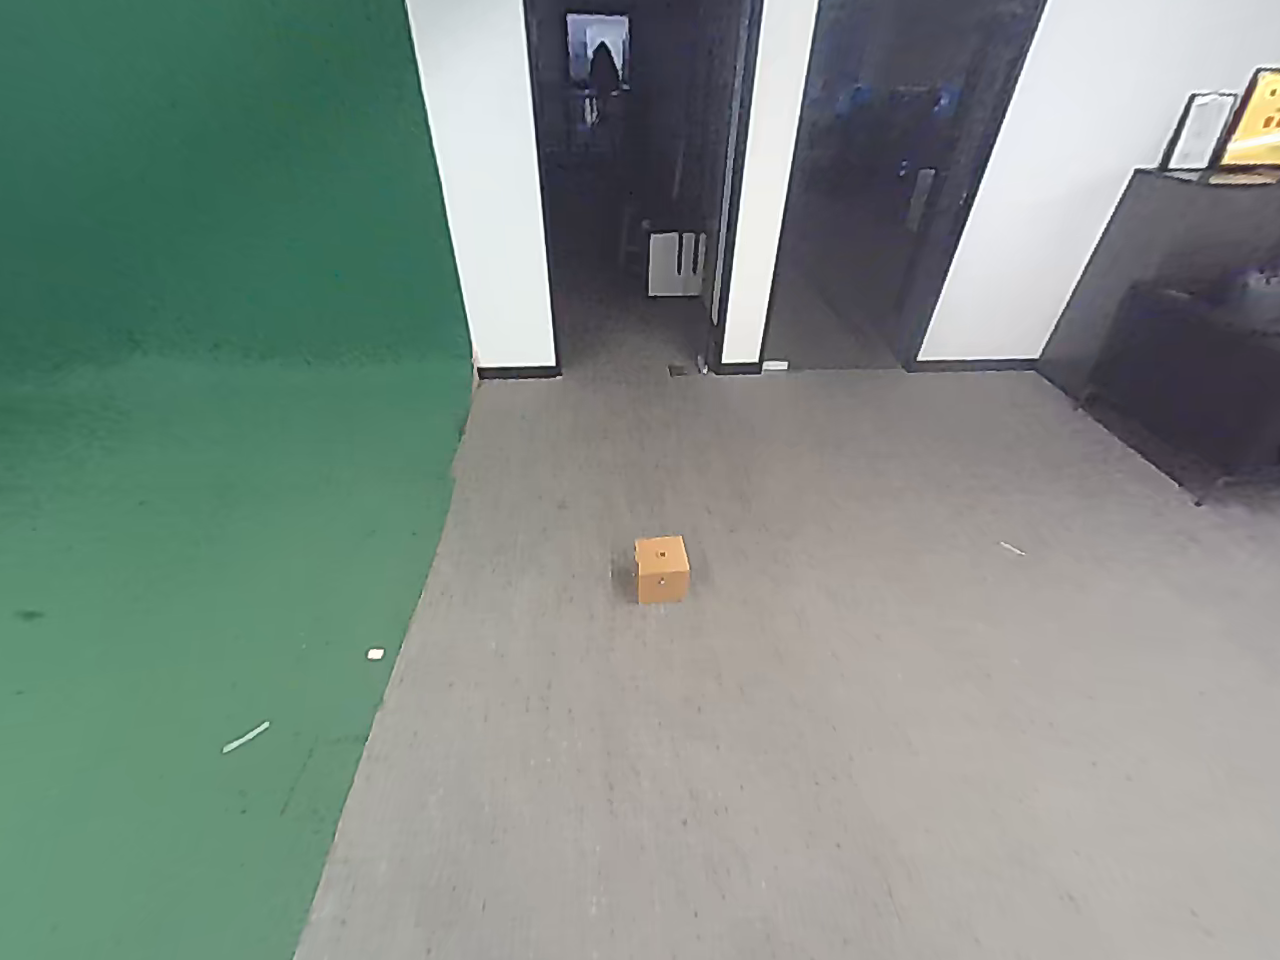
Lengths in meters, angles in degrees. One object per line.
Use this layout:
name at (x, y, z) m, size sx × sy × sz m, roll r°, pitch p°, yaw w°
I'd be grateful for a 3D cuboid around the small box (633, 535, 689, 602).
small box at (0.069, 0.316, 1.924) m, size 0.179 × 0.176 × 0.168 m, roll -4°, pitch 40°, yaw -5°
